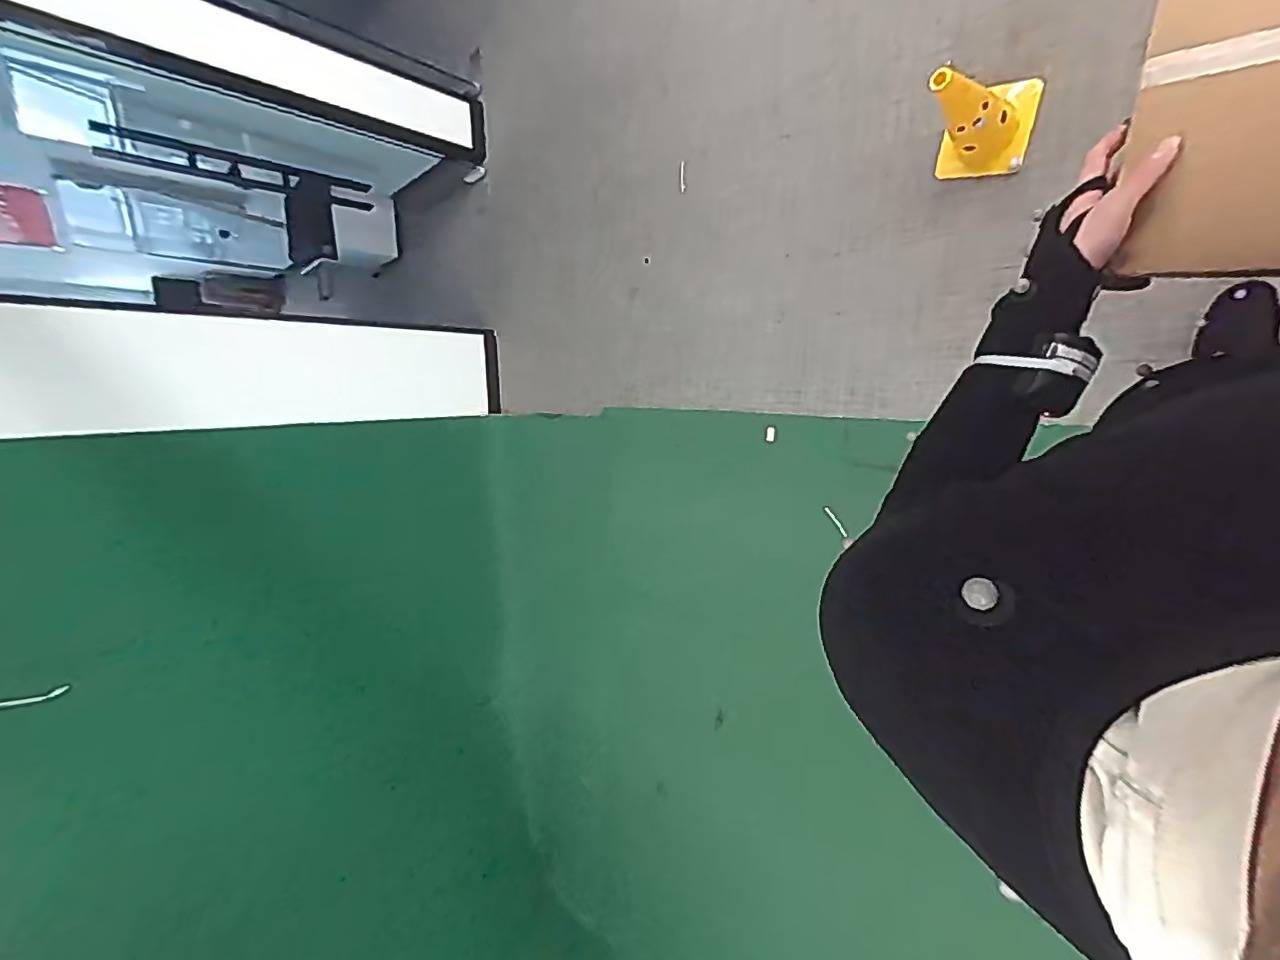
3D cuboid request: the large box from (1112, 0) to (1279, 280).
[{"bbox_3d":[0.669,-0.333,0.415,0.408,0.320,0.320,16,116,43],"label":"large box"}]
